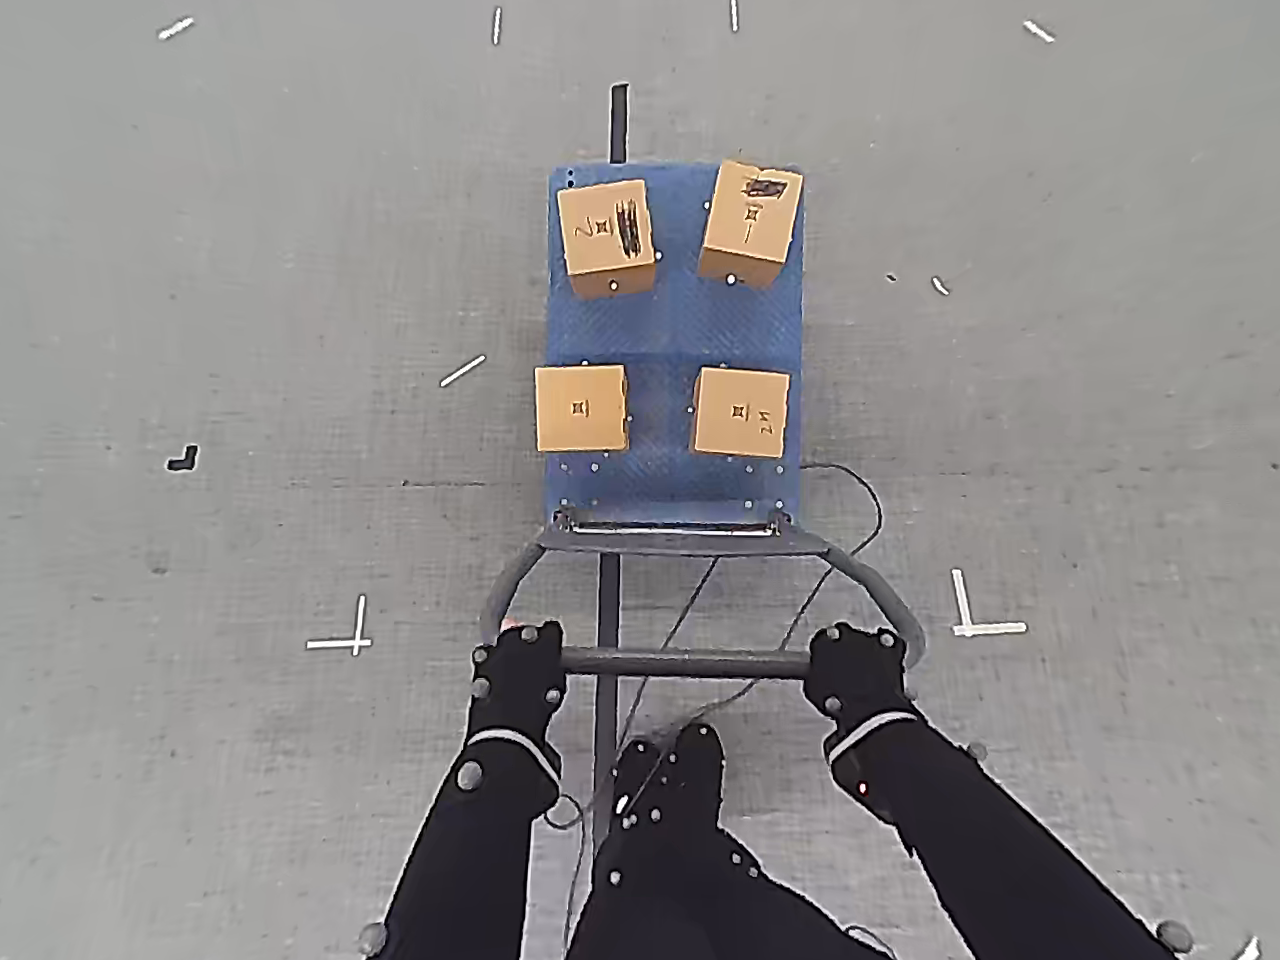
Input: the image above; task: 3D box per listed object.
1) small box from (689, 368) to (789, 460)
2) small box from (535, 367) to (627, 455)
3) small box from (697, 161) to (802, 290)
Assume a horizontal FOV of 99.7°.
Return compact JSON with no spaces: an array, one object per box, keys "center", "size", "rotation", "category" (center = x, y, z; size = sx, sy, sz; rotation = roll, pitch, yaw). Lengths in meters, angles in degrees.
[{"center":[0.200,-0.132,1.136],"size":[0.179,0.176,0.168],"rotation":[5,91,1],"category":"small box"},{"center":[-0.118,-0.139,1.140],"size":[0.179,0.176,0.168],"rotation":[-2,91,-1],"category":"small box"},{"center":[0.220,-0.522,1.130],"size":[0.168,0.176,0.179],"rotation":[12,92,0],"category":"small box"}]
